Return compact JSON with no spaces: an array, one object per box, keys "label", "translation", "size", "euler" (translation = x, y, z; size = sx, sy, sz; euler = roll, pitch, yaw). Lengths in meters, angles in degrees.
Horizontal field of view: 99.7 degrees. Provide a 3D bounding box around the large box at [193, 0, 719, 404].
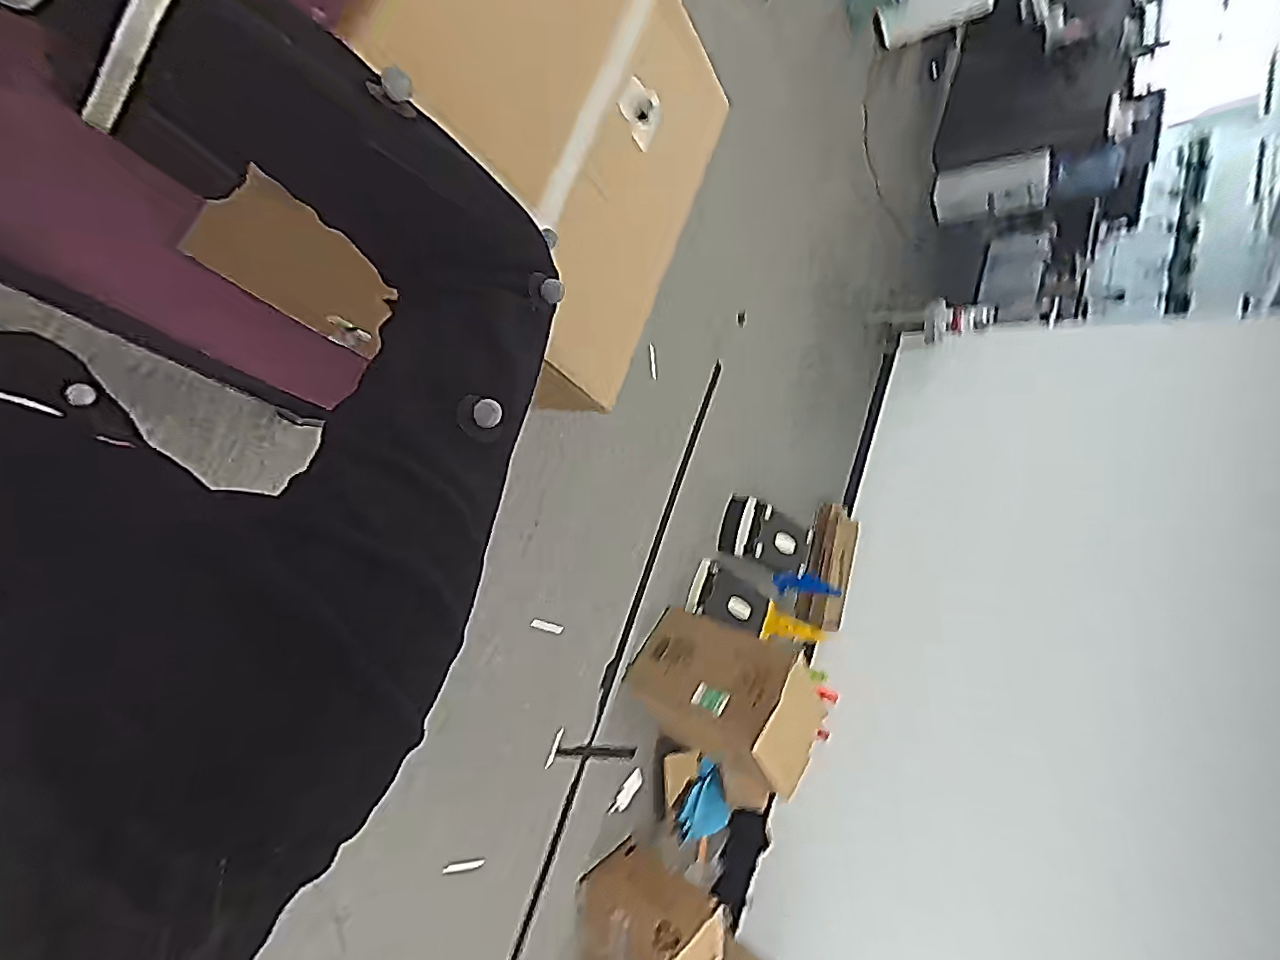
[{"label":"large box","translation":[-0.169,-0.324,0.566],"size":[0.320,0.320,0.408],"euler":[35,70,-48]}]
